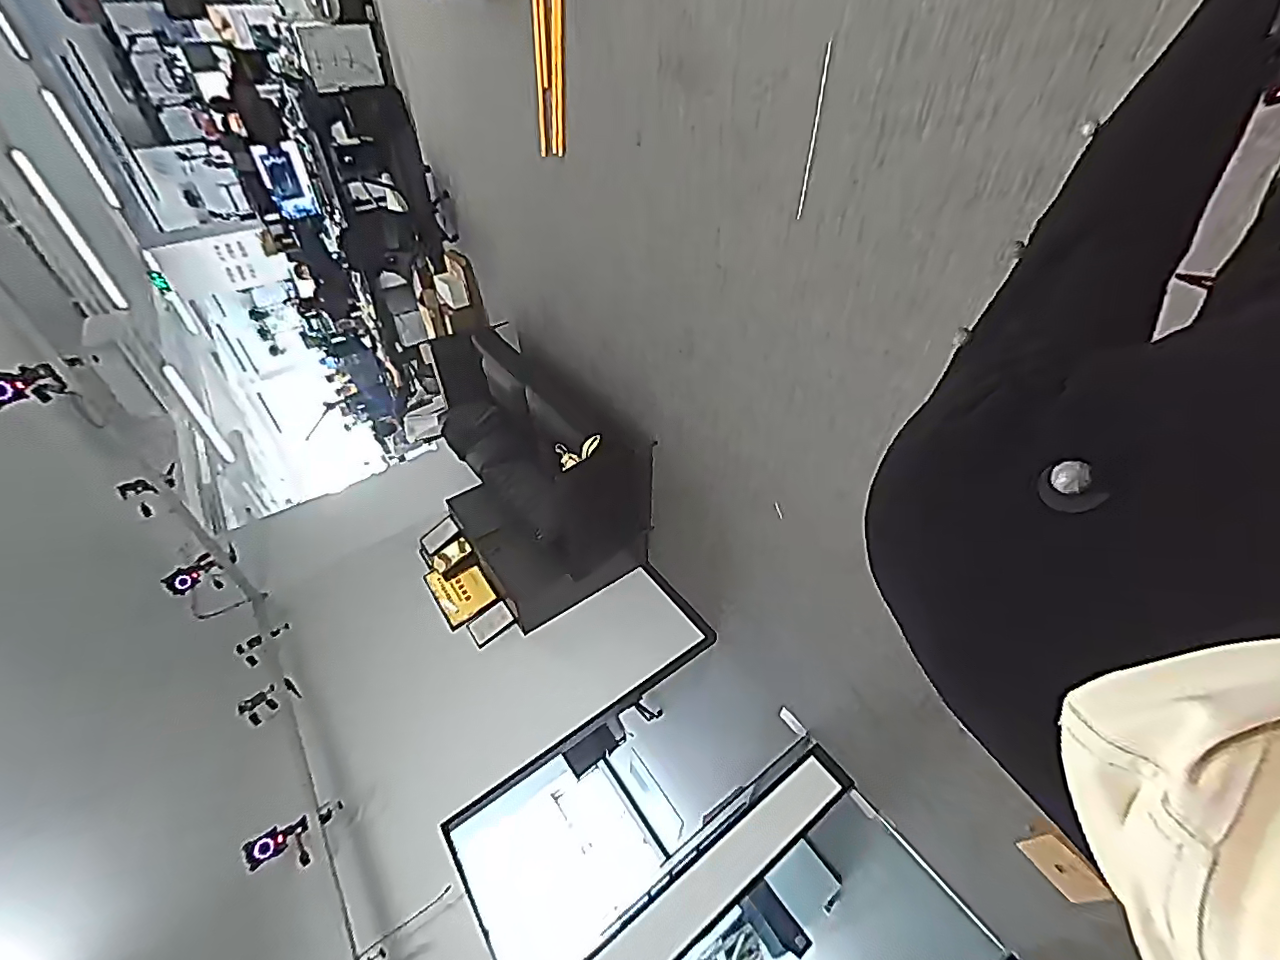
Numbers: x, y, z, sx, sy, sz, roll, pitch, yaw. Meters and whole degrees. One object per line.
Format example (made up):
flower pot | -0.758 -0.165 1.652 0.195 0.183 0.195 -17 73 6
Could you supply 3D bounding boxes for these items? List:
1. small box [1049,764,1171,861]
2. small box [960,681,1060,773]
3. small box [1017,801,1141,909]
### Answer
small box | 1.310 0.933 1.507 0.168 0.176 0.179 48 151 33
small box | 1.139 0.753 1.660 0.168 0.176 0.179 45 150 32
small box | 1.173 1.000 1.446 0.168 0.176 0.179 48 151 32
